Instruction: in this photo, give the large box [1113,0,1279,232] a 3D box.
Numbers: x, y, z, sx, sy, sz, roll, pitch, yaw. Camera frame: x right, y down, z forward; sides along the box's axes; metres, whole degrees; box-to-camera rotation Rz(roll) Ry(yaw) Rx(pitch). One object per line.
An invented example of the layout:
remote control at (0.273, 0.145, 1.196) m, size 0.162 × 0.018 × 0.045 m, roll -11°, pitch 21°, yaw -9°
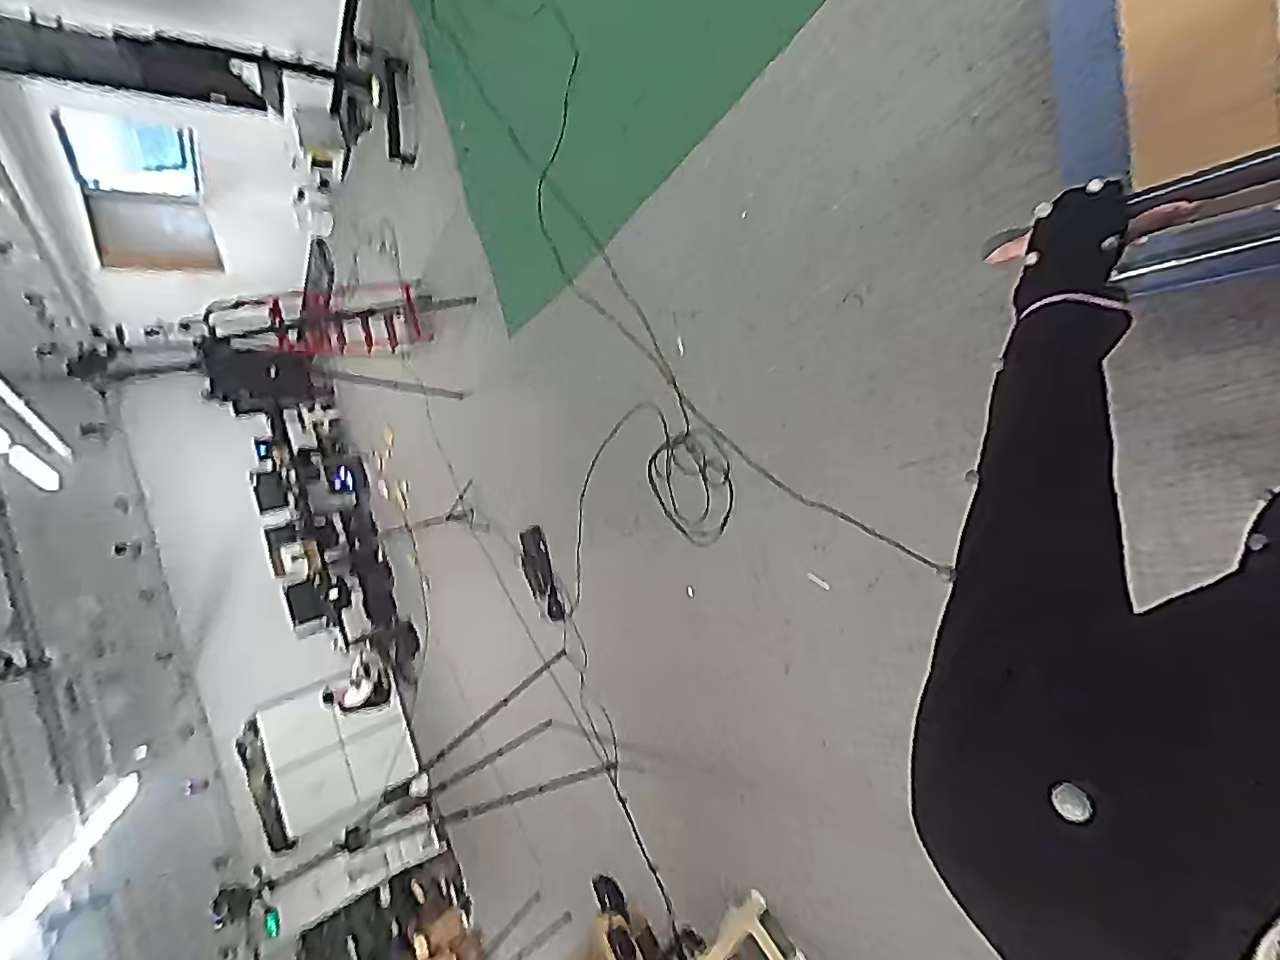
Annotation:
large box at (0.936, -0.632, 0.784) m, size 0.320 × 0.320 × 0.408 m, roll -4°, pitch 98°, yaw 52°
